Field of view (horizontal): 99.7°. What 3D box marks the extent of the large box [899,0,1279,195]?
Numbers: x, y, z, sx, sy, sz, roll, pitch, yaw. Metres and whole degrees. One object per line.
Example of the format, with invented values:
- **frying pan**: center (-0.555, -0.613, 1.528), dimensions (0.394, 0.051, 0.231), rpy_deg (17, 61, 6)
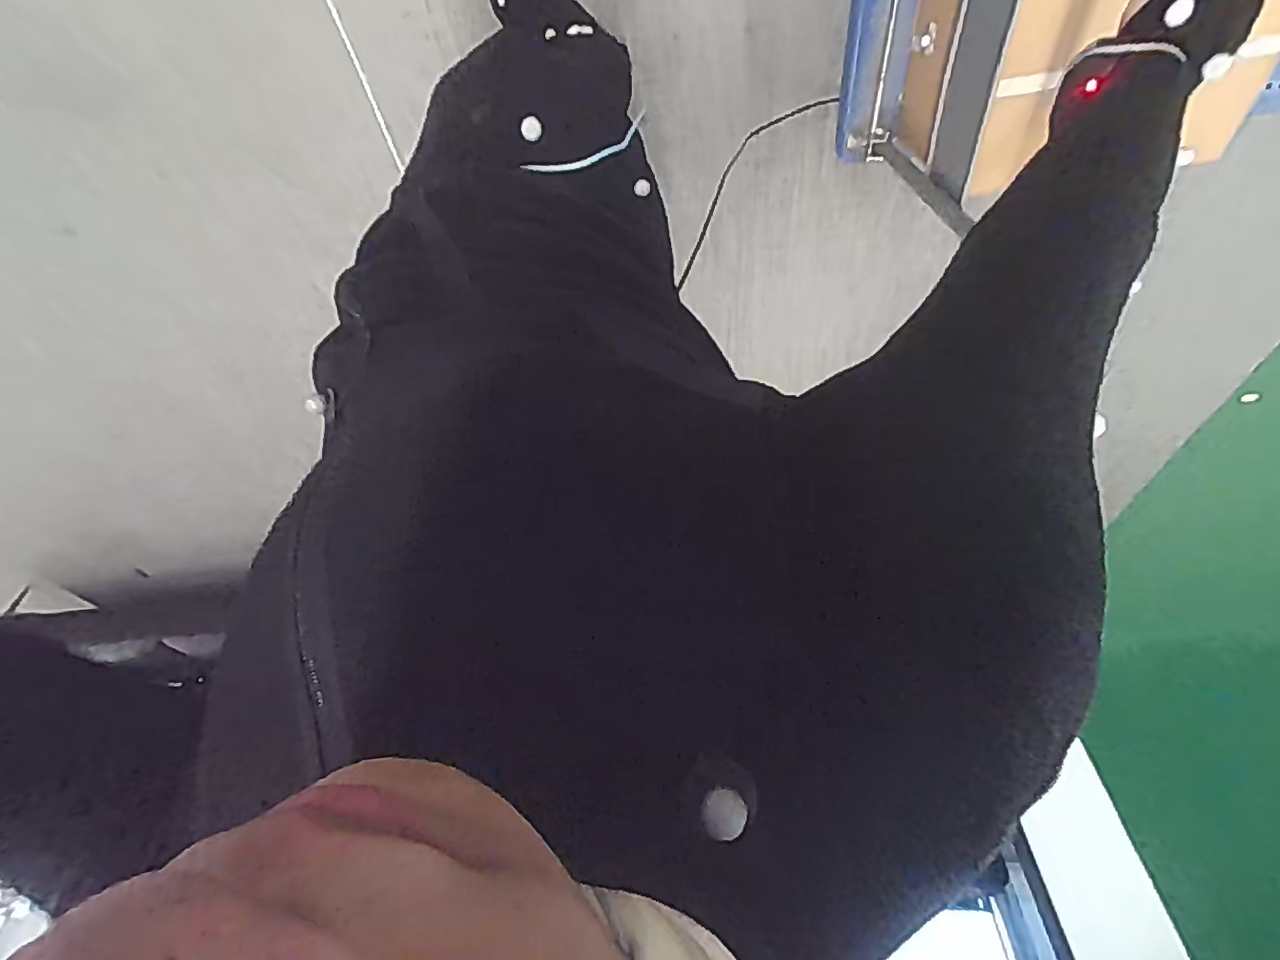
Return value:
- **large box**: center (0.694, -0.705, 0.869), dimensions (0.408, 0.320, 0.320), rpy_deg (-6, 139, 5)
